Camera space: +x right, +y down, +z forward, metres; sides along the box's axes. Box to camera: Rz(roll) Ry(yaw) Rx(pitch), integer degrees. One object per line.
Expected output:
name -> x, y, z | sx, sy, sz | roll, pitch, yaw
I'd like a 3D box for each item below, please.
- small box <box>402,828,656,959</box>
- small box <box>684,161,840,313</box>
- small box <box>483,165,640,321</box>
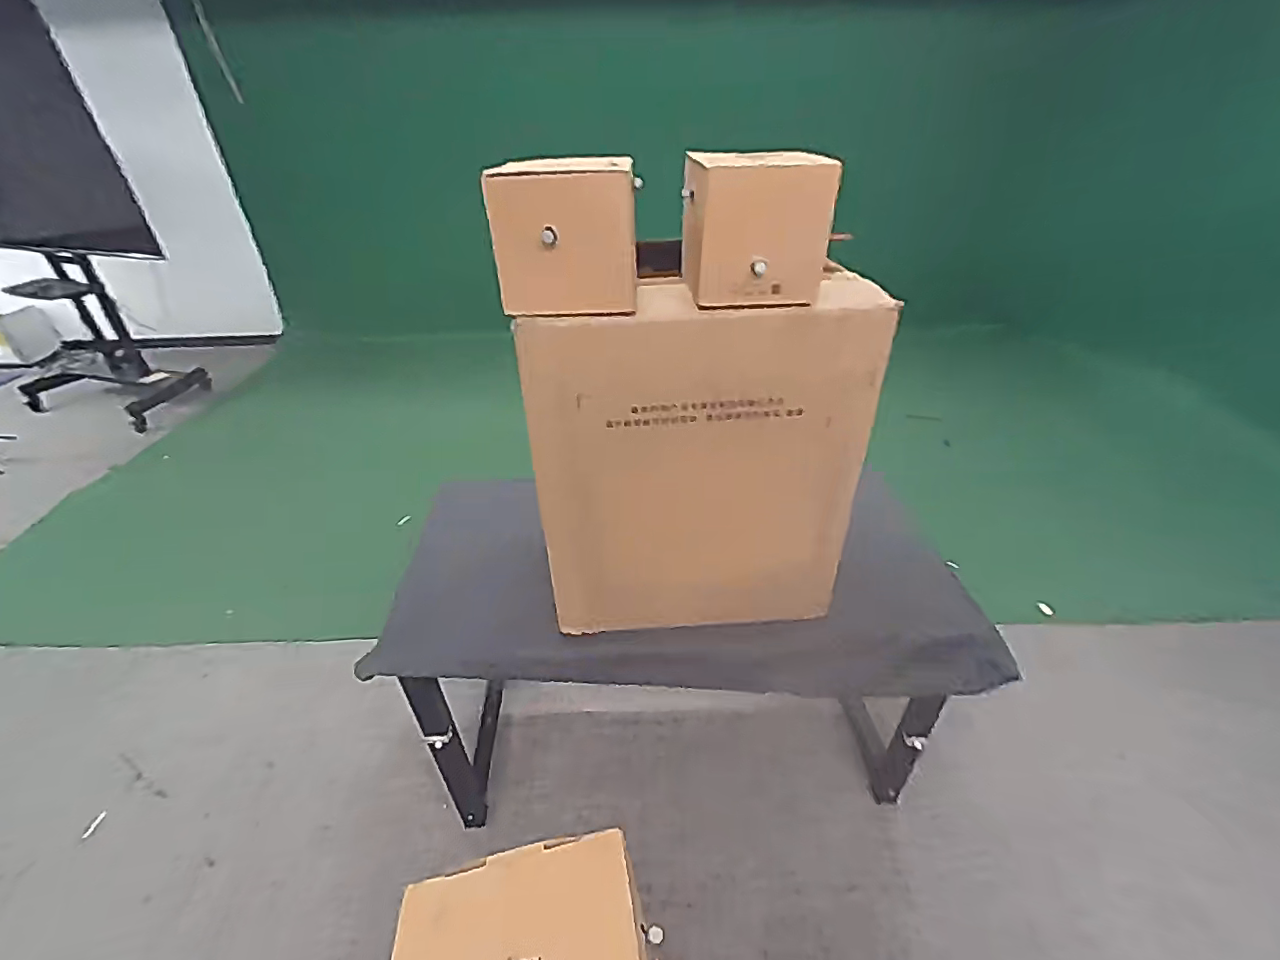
small box -> -0.064, 0.392, 0.373 | 0.168, 0.176, 0.179 | -11, 28, -6
small box -> 0.154, -0.343, 0.757 | 0.168, 0.176, 0.179 | -3, 36, -3
small box -> -0.094, -0.324, 0.742 | 0.179, 0.176, 0.168 | -2, 35, 2
